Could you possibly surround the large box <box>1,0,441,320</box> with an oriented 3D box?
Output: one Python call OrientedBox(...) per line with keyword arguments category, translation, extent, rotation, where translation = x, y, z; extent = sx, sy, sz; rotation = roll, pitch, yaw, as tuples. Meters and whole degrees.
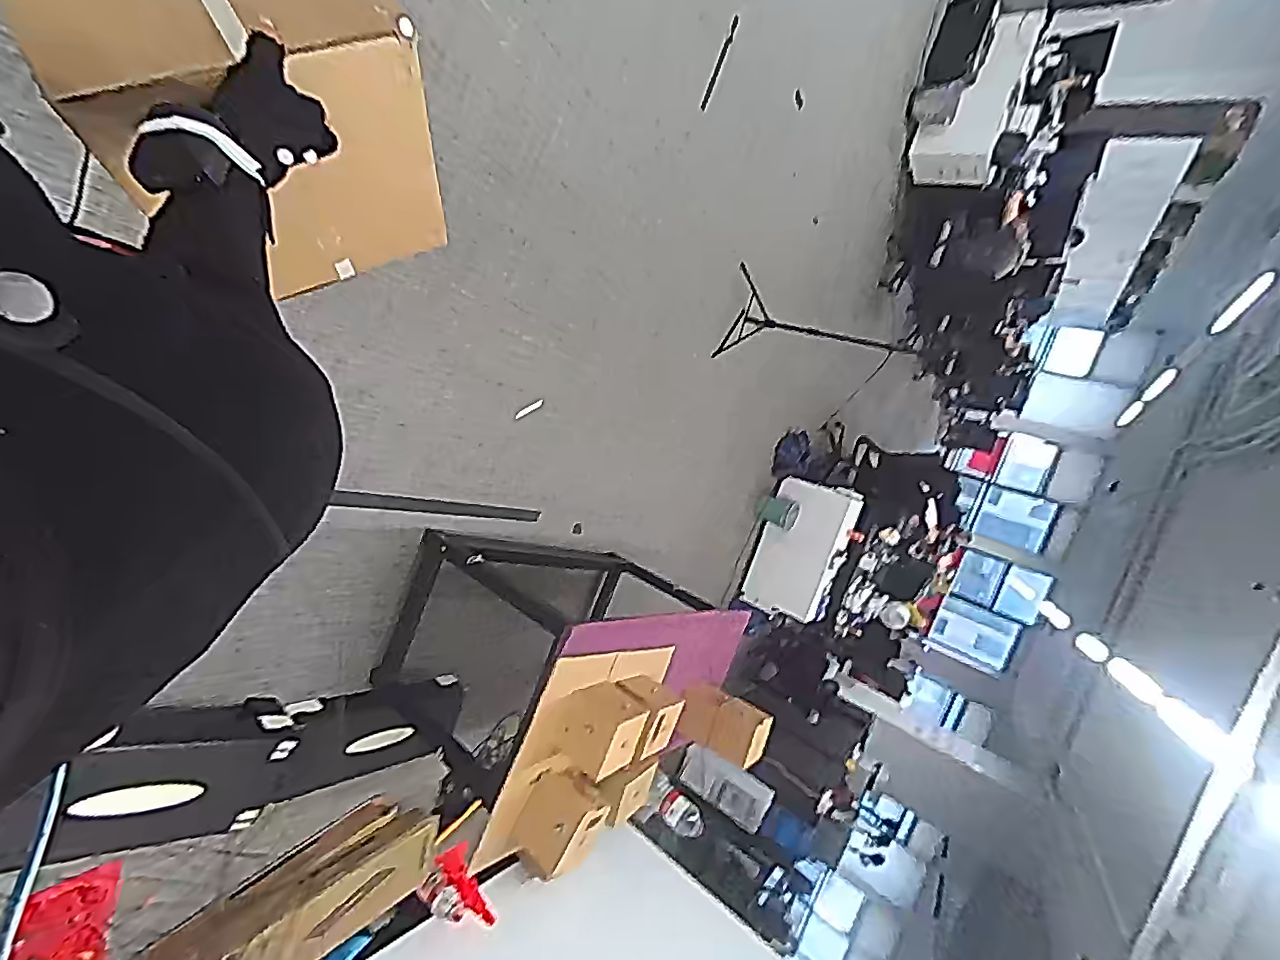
OrientedBox(category="large box", translation=(-0.495, -0.487, 0.671), extent=(0.320, 0.408, 0.320), rotation=(-29, 173, -19))
